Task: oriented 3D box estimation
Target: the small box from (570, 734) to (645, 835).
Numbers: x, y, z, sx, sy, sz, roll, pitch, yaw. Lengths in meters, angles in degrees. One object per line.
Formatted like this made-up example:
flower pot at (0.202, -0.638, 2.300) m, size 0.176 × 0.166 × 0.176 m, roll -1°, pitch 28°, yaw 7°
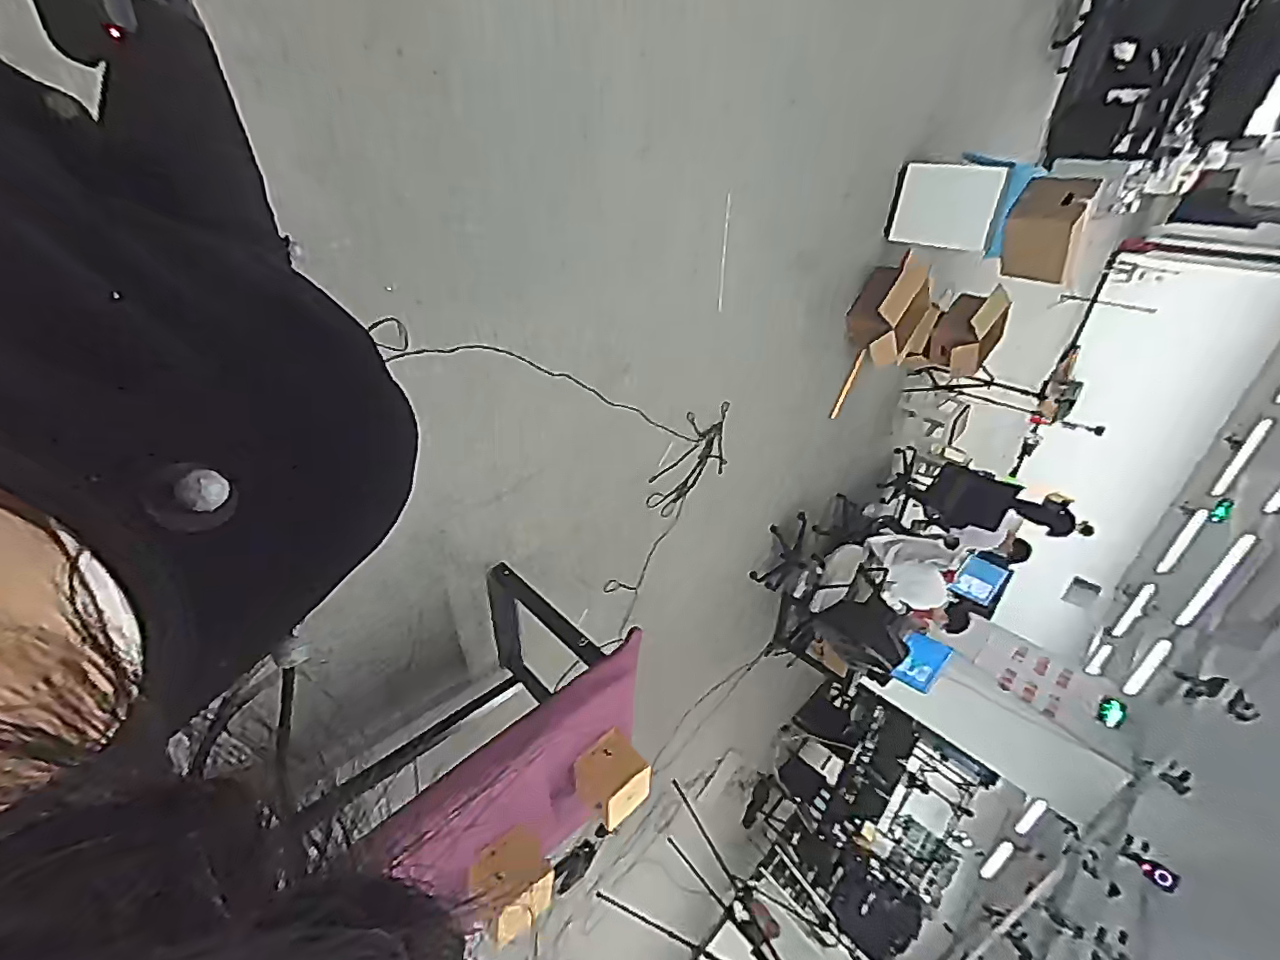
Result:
small box at (-0.102, 0.933, 1.670) m, size 0.168 × 0.176 × 0.179 m, roll -26°, pitch 130°, yaw -37°

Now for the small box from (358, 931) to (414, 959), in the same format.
small box at (-0.604, 1.226, 1.275) m, size 0.168 × 0.176 × 0.179 m, roll -27°, pitch 133°, yaw -36°

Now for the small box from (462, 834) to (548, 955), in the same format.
small box at (-0.372, 1.118, 1.477) m, size 0.168 × 0.176 × 0.179 m, roll -15°, pitch 124°, yaw -43°
